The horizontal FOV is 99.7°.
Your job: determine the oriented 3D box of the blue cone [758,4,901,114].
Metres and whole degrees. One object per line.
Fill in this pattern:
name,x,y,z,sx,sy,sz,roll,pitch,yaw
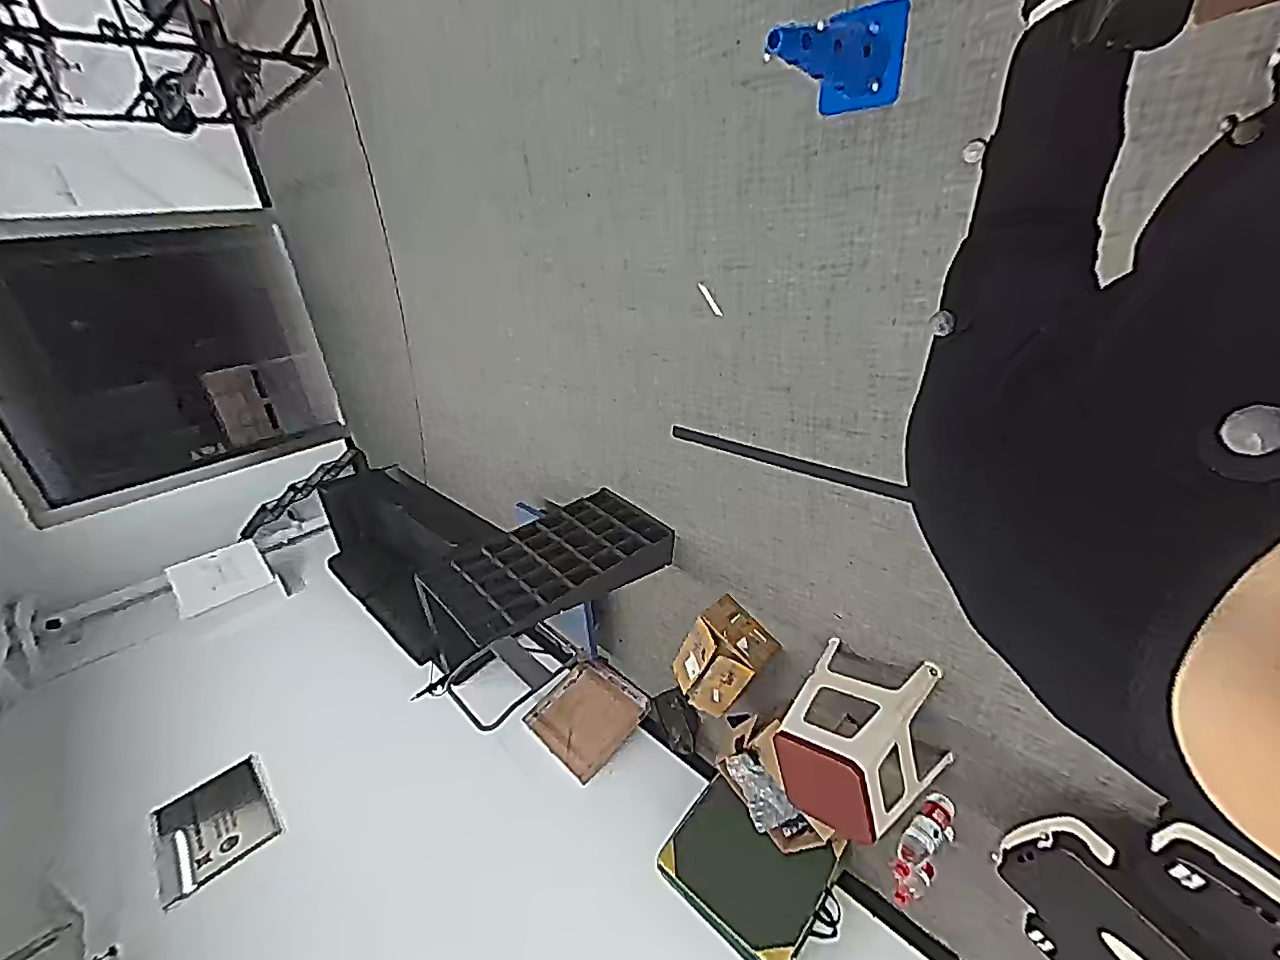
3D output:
blue cone,0.393,-0.931,1.179,0.192,0.380,0.193,25,129,41
